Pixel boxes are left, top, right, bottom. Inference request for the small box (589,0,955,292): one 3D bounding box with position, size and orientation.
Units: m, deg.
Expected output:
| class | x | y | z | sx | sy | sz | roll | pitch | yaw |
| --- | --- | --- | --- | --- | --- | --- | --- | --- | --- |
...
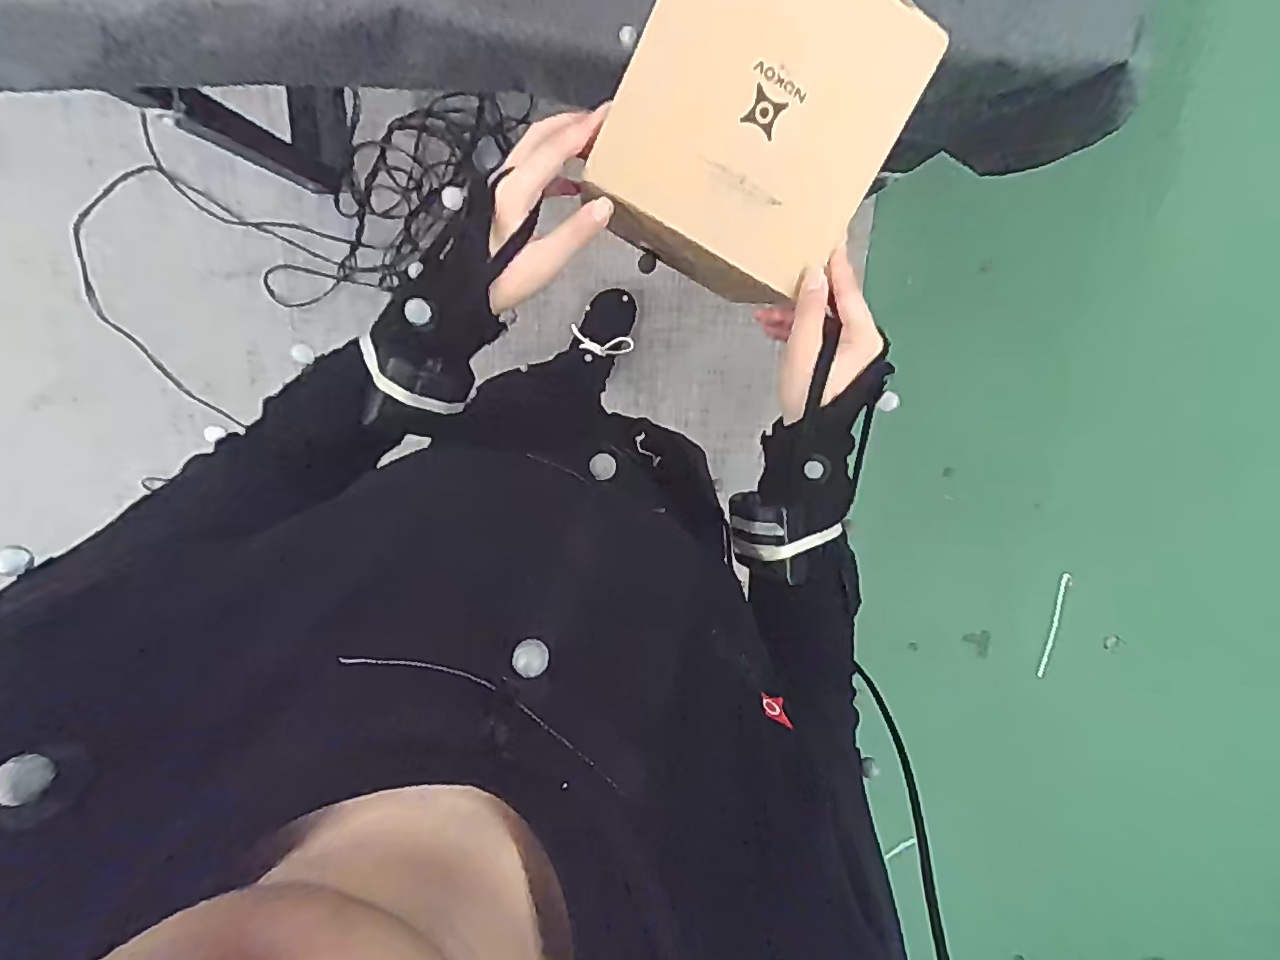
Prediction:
| class | x | y | z | sx | sy | sz | roll | pitch | yaw |
| --- | --- | --- | --- | --- | --- | --- | --- | --- | --- |
| small box | 0.068 | -0.257 | 0.394 | 0.168 | 0.176 | 0.179 | 25 | 104 | -14 |
